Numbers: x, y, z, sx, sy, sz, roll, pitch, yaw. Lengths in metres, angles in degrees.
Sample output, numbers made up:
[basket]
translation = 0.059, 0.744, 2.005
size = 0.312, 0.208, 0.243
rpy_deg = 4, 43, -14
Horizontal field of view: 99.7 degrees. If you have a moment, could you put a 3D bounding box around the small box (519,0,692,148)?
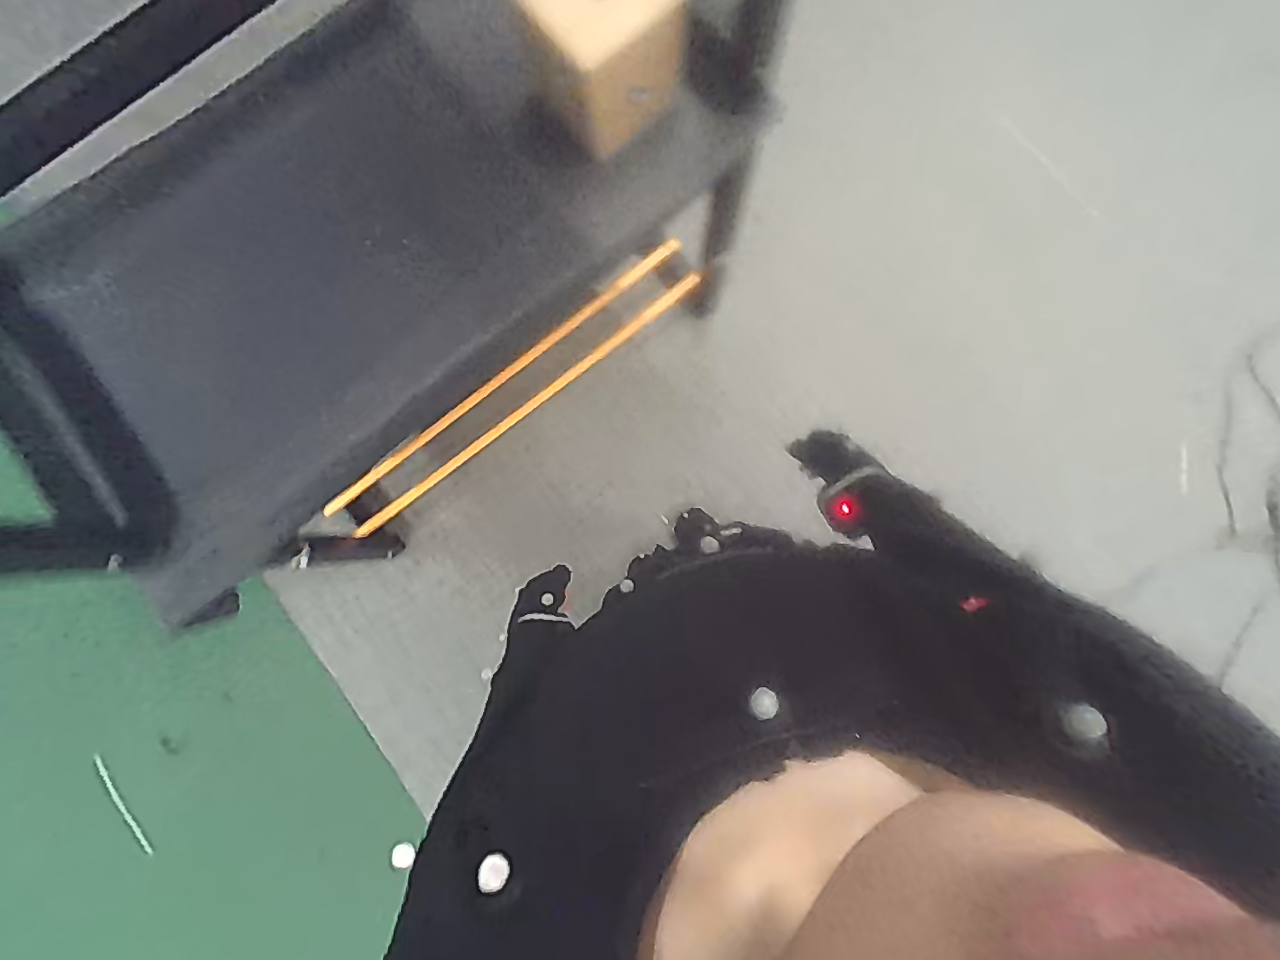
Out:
[small box]
translation = -0.043, -0.621, 0.776
size = 0.168, 0.176, 0.179
rpy_deg = -39, 83, -2
